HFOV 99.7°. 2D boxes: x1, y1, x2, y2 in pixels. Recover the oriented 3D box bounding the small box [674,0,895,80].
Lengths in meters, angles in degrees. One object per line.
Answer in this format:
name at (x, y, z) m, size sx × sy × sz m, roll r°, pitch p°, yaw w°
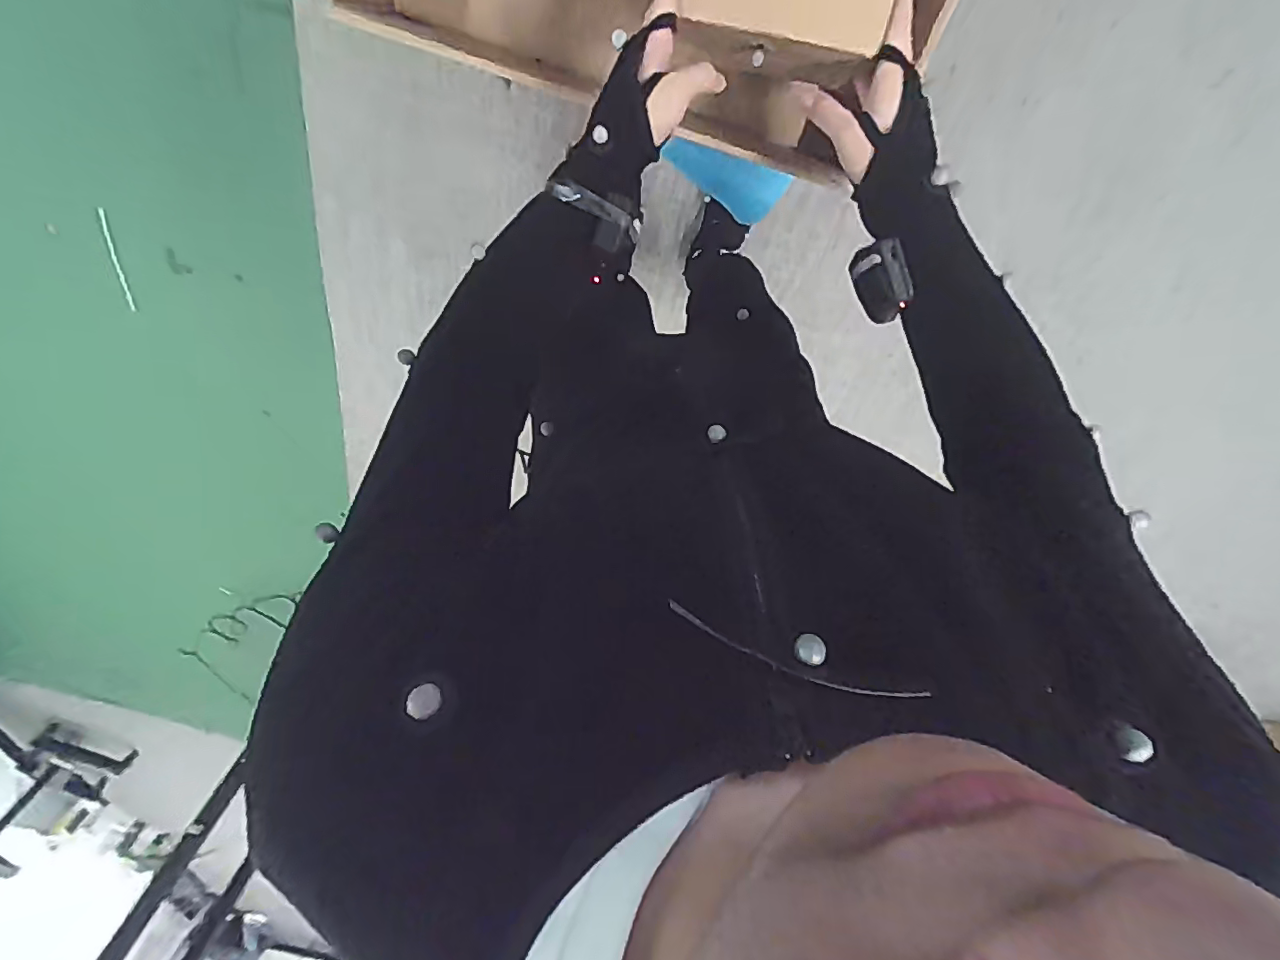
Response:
small box at (0.136, -0.475, 0.475) m, size 0.179 × 0.176 × 0.168 m, roll 12°, pitch 120°, yaw 1°
